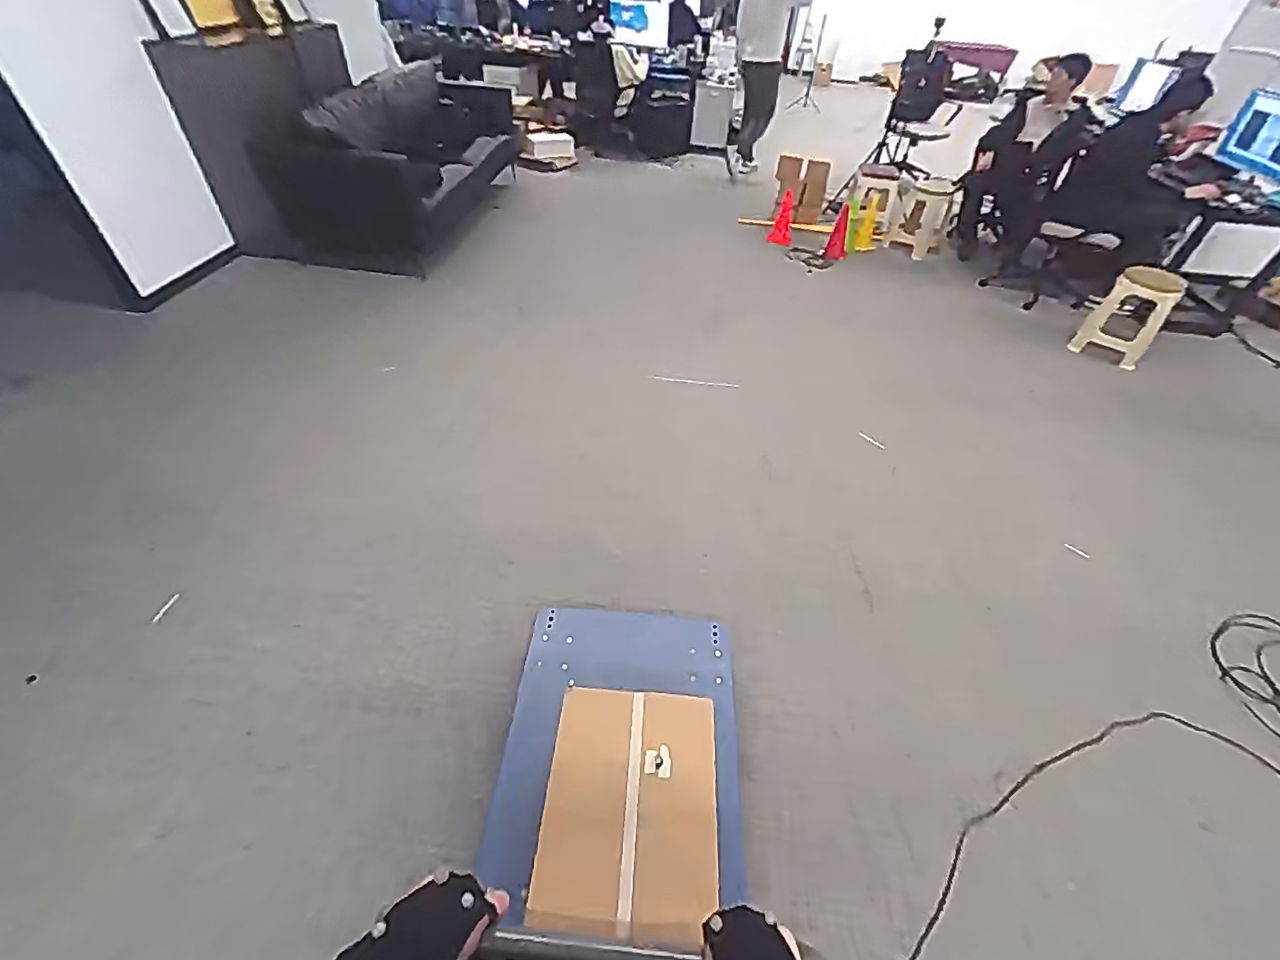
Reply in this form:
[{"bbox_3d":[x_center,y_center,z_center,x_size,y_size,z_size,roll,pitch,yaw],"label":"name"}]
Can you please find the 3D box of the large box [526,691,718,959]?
[{"bbox_3d":[-0.028,0.700,1.093,0.320,0.320,0.408,5,42,0],"label":"large box"}]
